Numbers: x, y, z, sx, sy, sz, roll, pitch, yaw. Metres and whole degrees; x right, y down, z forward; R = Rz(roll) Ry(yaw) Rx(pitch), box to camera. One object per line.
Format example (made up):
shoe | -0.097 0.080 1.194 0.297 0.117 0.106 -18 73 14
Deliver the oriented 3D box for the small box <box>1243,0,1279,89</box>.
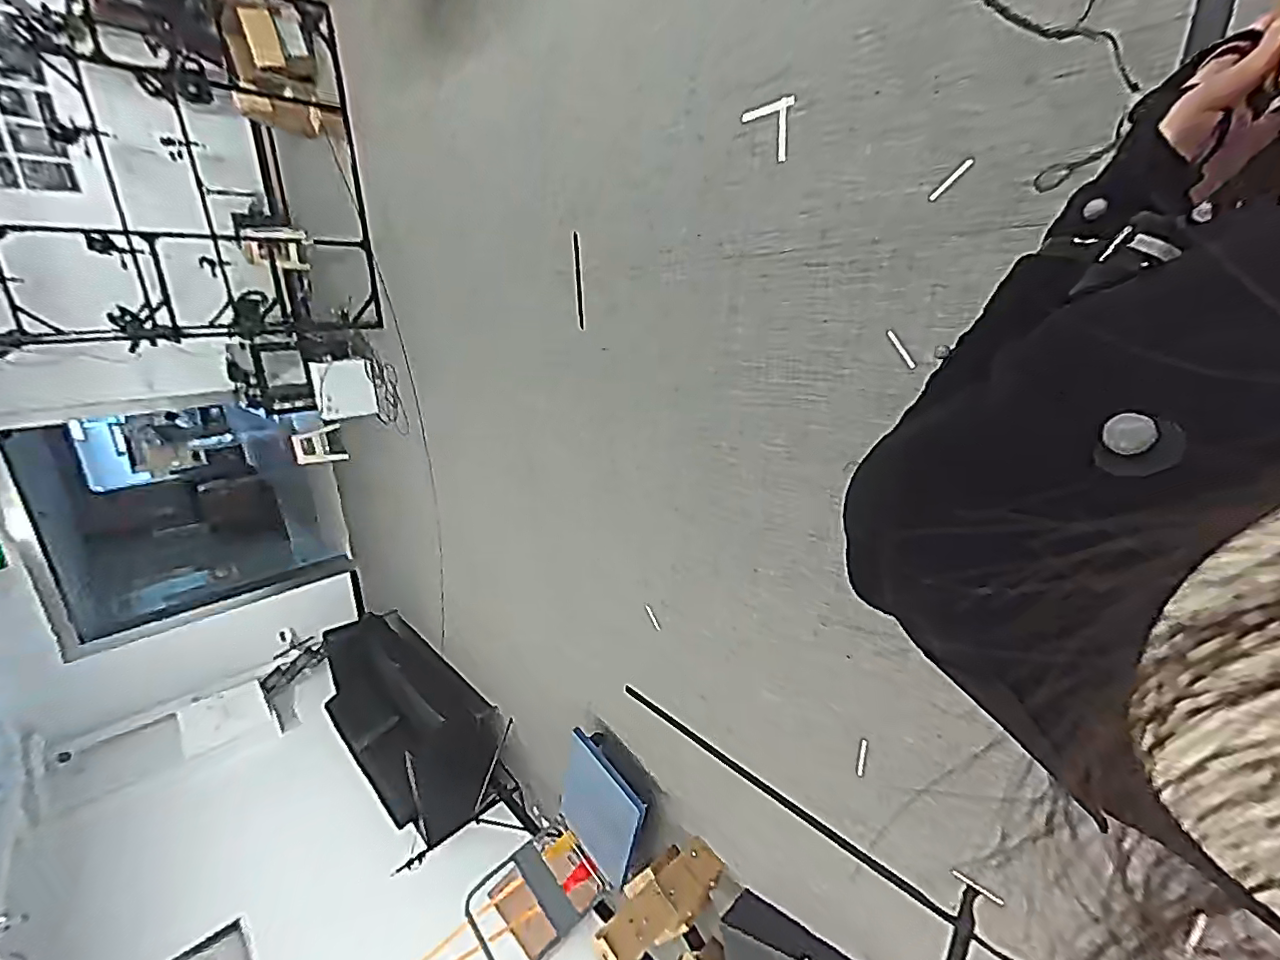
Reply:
small box | 0.393 -0.286 0.218 0.179 0.176 0.168 6 118 39
